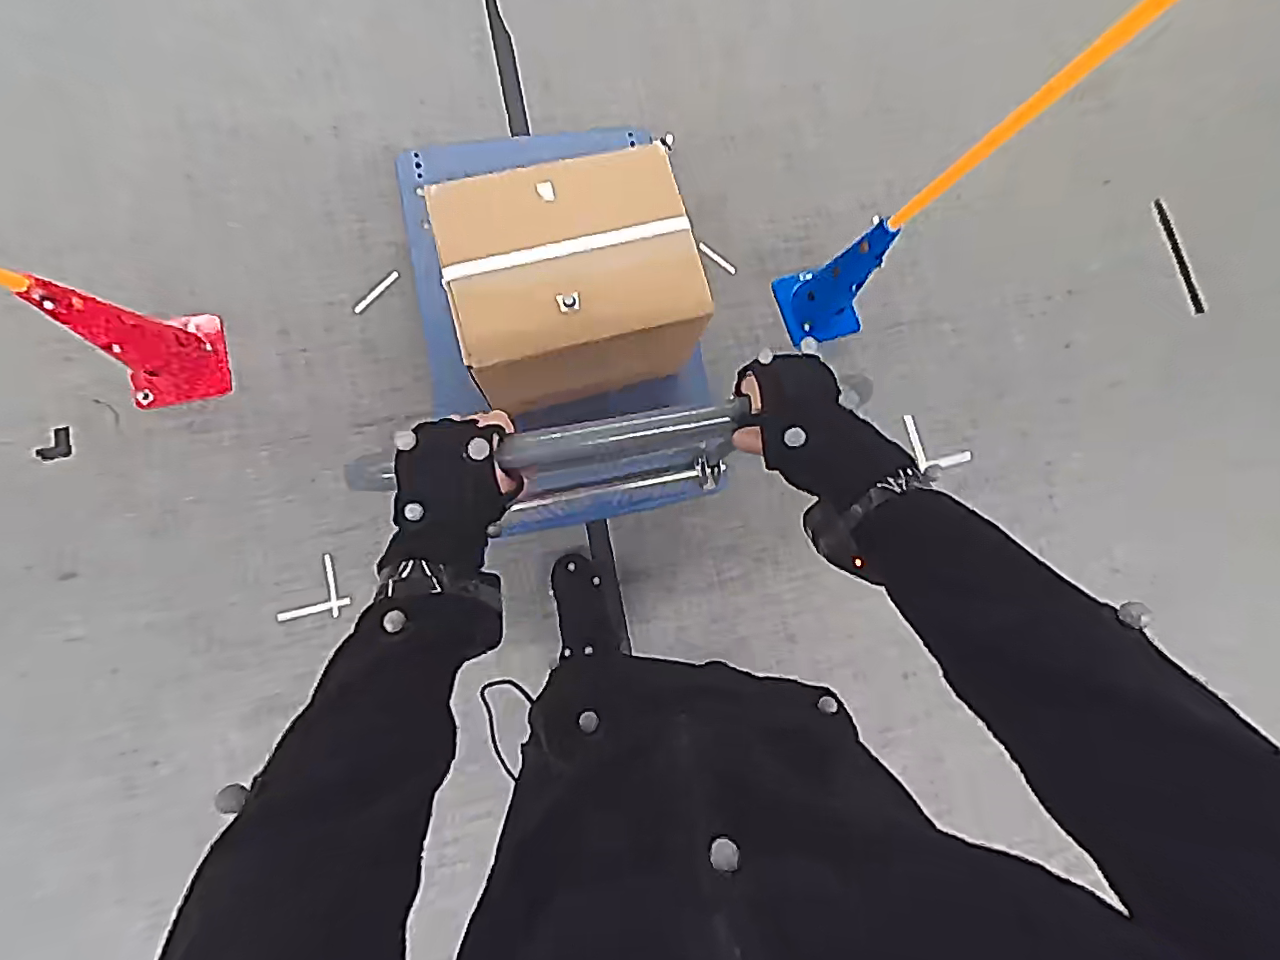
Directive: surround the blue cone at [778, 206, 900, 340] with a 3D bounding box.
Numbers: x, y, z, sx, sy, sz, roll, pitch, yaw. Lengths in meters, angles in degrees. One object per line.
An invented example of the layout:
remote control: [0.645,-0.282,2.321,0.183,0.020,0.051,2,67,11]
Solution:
blue cone: [0.491,-0.496,1.266,0.193,0.380,0.192,-16,83,-9]
